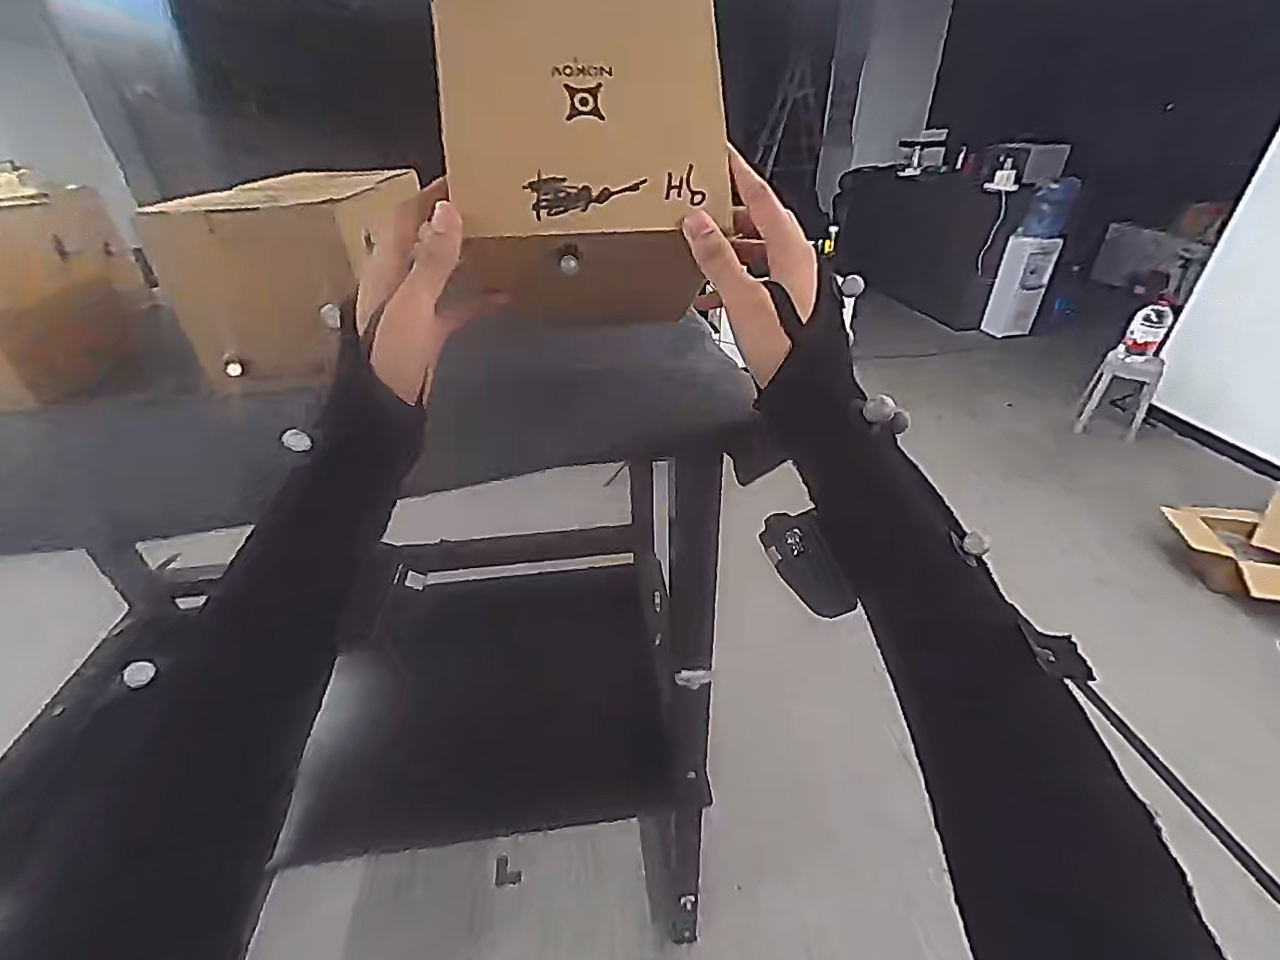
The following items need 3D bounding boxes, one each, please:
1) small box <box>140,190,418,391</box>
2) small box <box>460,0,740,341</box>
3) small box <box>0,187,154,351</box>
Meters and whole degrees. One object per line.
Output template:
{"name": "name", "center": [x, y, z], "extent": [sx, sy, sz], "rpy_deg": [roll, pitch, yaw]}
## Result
{"name": "small box", "center": [-0.350, -0.200, 0.573], "extent": [0.168, 0.176, 0.179], "rpy_deg": [-6, 33, -7]}
{"name": "small box", "center": [-0.034, -0.219, 0.407], "extent": [0.168, 0.179, 0.176], "rpy_deg": [-4, -5, -7]}
{"name": "small box", "center": [-0.804, -0.276, 0.706], "extent": [0.179, 0.176, 0.168], "rpy_deg": [-7, 34, -8]}
